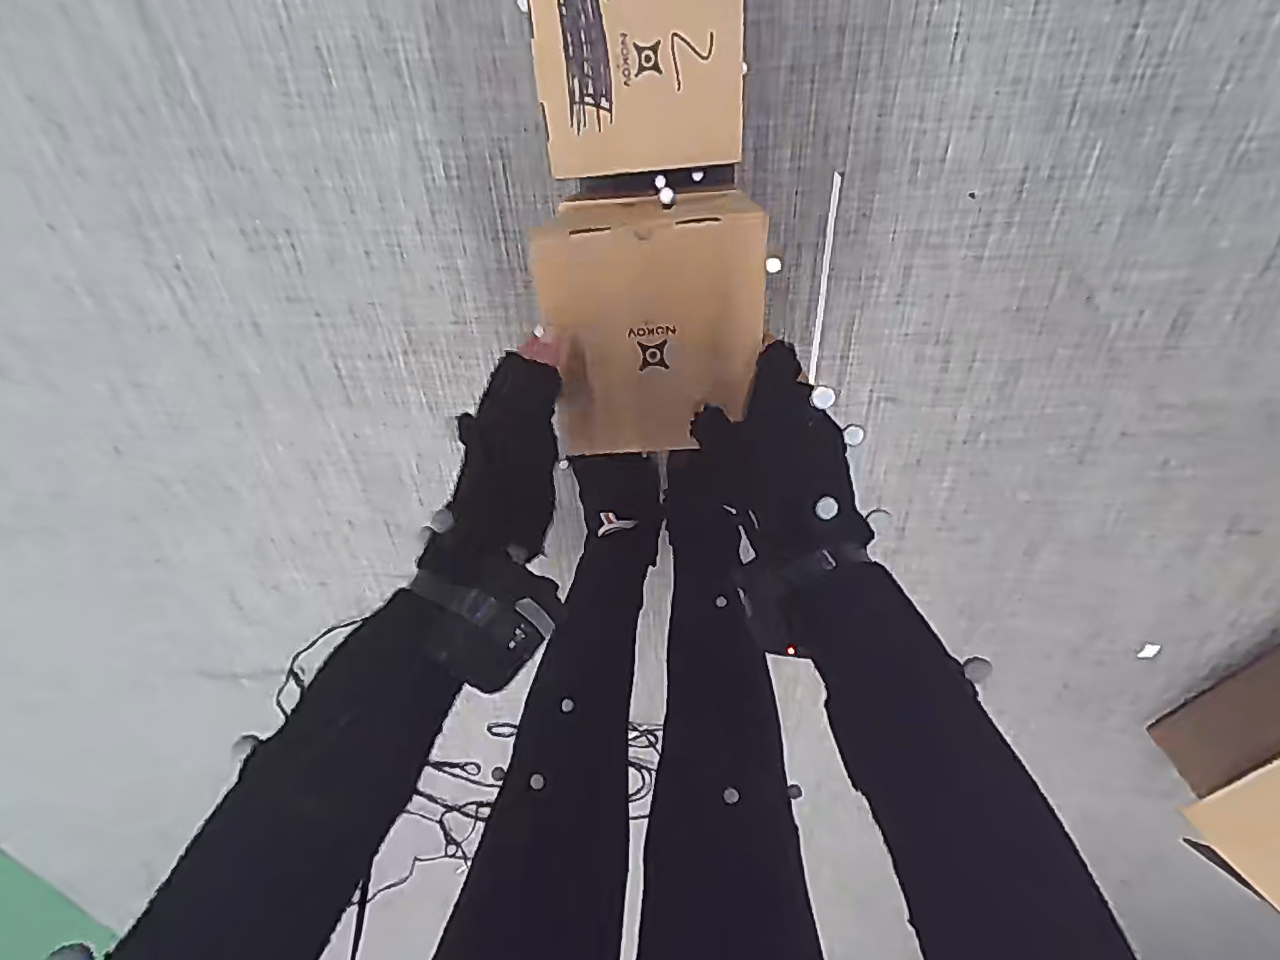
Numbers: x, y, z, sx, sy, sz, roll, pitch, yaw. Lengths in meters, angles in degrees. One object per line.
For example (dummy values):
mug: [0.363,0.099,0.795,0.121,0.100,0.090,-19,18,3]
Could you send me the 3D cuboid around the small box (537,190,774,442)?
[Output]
small box: [0.021,-0.148,0.478,0.168,0.176,0.179,0,121,6]
